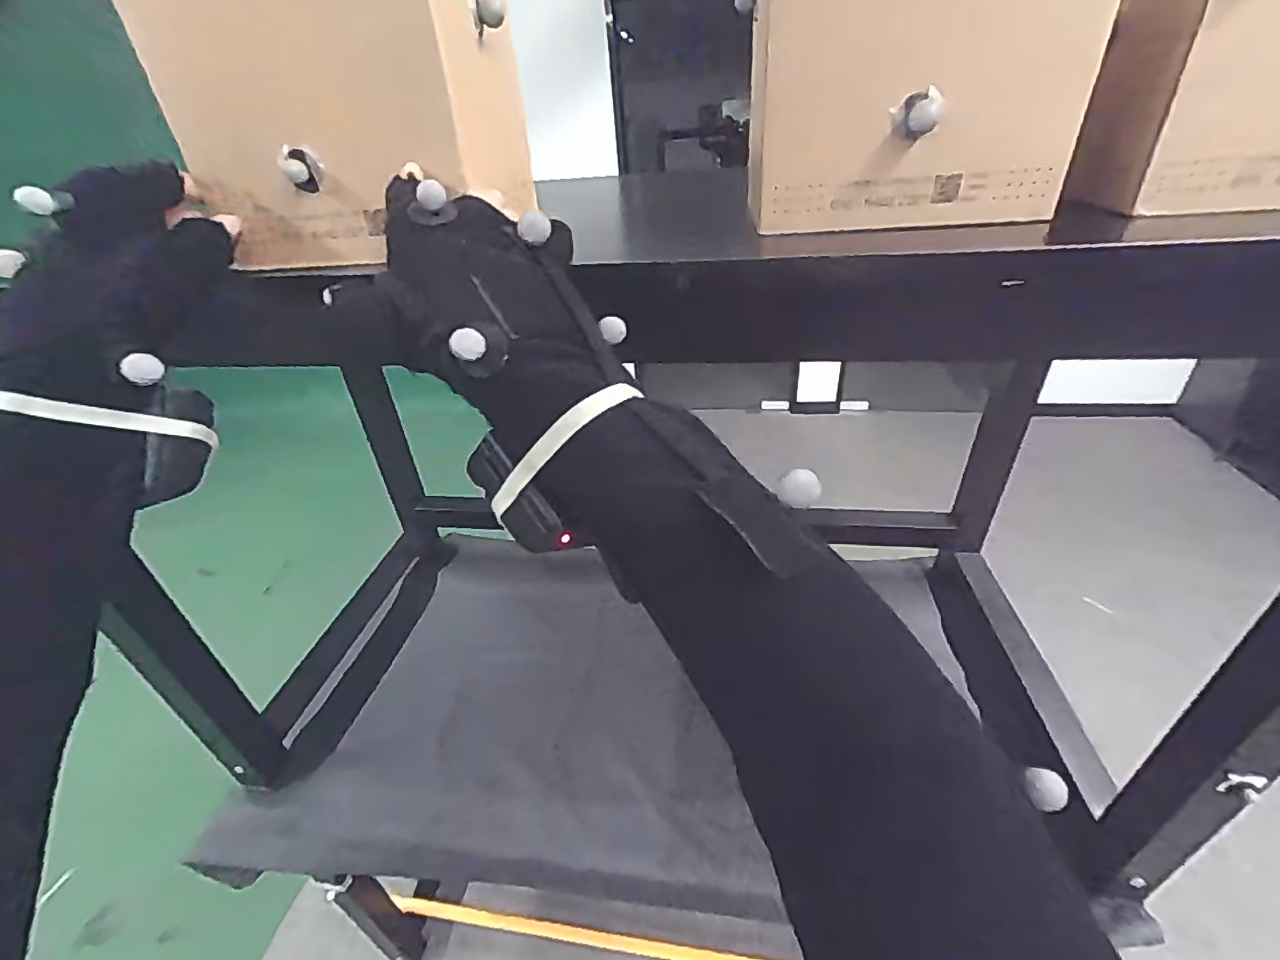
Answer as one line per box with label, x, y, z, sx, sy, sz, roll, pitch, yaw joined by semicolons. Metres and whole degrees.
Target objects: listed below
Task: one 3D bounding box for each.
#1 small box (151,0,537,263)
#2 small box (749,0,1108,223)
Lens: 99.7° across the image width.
small box;-0.174;-0.252;0.369;0.168;0.176;0.179;-2;33;4
small box;0.159;-0.268;0.348;0.168;0.176;0.179;1;33;9
